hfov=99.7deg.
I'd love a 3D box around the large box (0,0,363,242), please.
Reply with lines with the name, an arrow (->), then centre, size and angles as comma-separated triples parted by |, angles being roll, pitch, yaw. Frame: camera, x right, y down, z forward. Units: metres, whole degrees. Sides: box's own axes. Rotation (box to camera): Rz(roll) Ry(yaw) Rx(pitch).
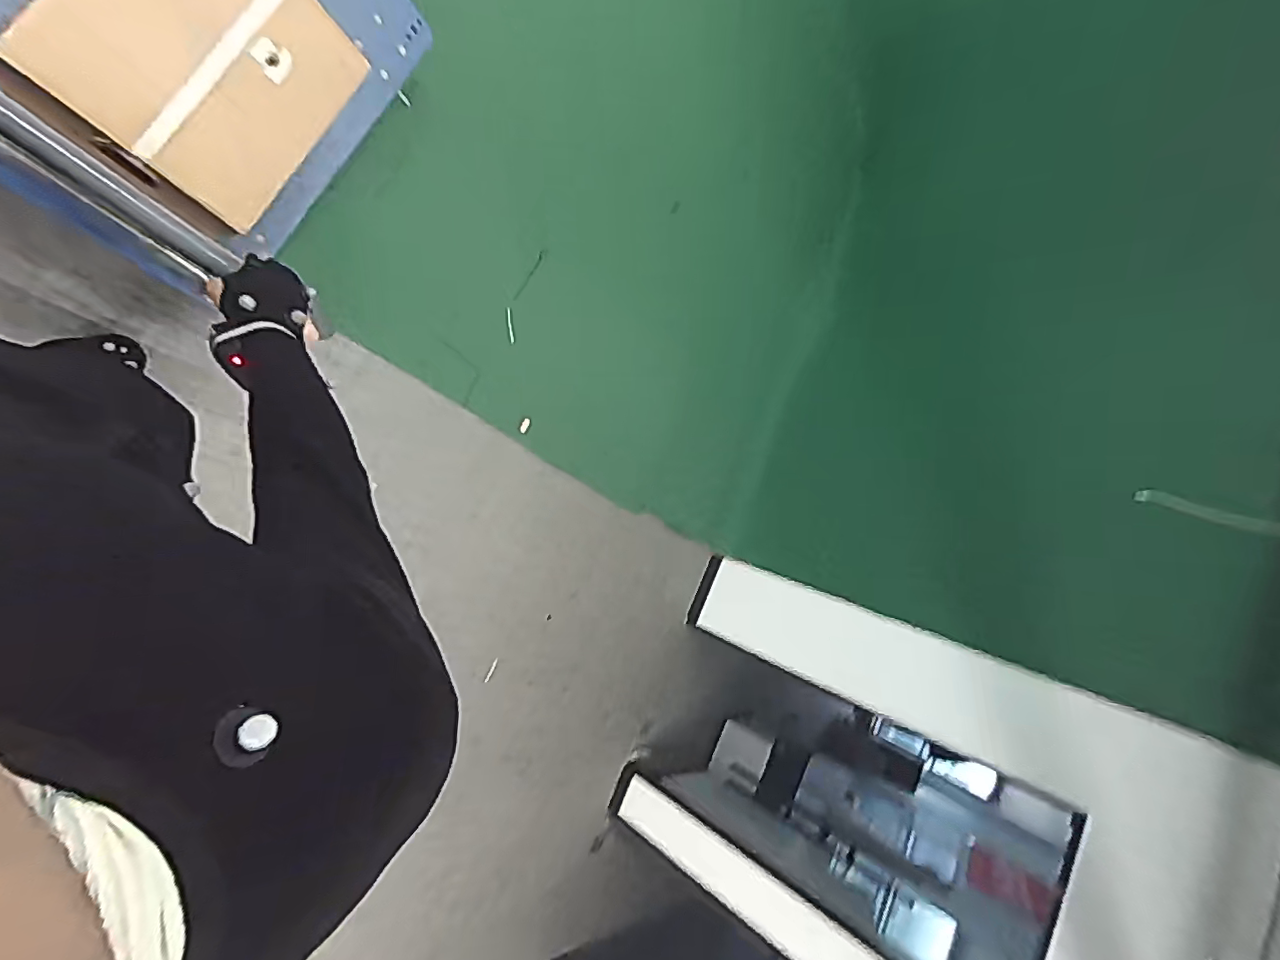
large box -> -0.783, -0.688, 0.943 | 0.320, 0.320, 0.408 | 41, 71, -50
